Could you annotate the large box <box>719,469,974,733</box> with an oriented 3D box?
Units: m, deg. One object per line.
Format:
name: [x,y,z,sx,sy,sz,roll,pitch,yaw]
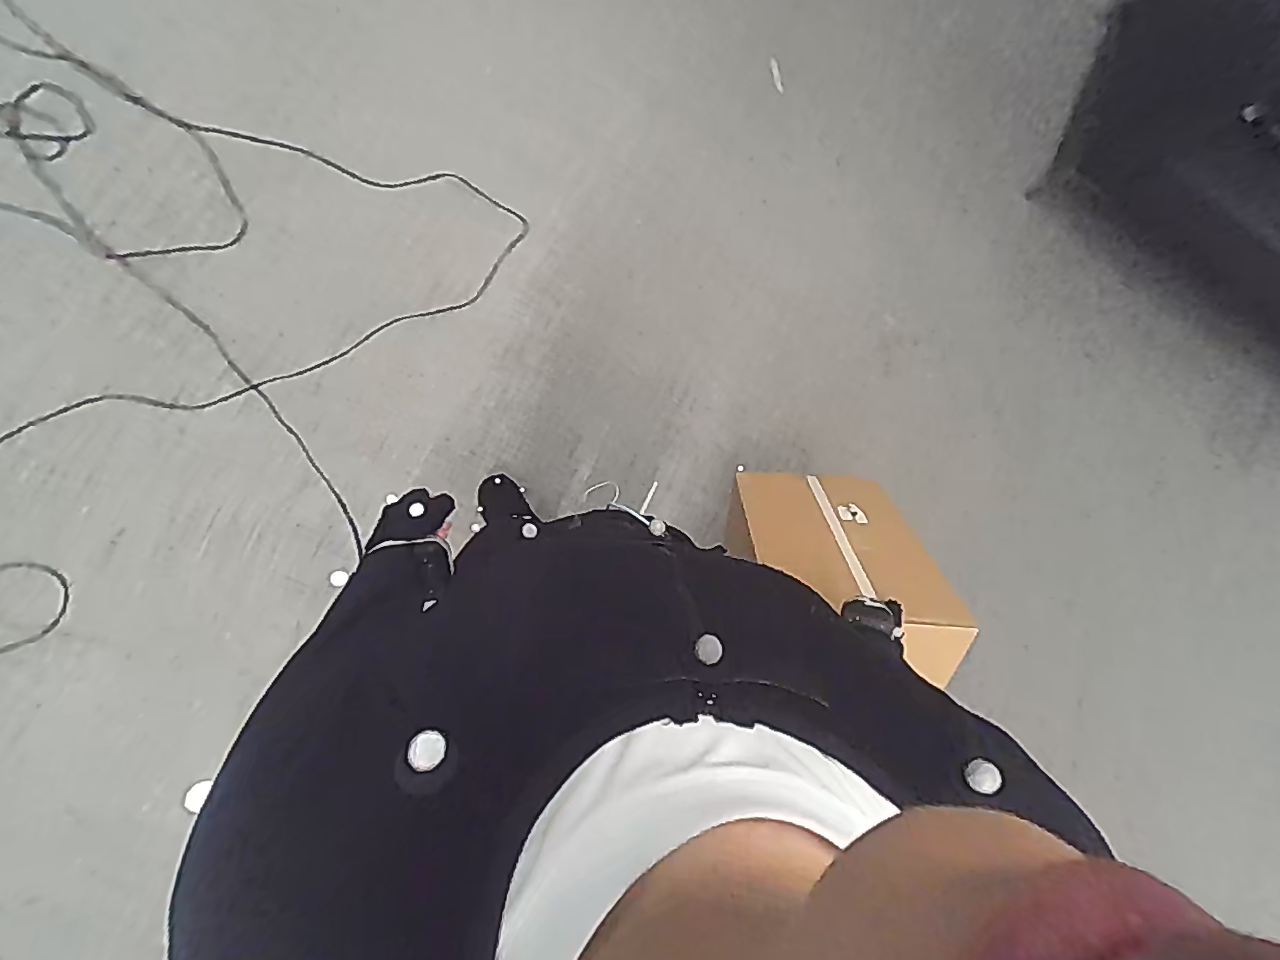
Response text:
large box: [0.341,0.217,1.042,0.320,0.408,0.320,4,122,-1]
